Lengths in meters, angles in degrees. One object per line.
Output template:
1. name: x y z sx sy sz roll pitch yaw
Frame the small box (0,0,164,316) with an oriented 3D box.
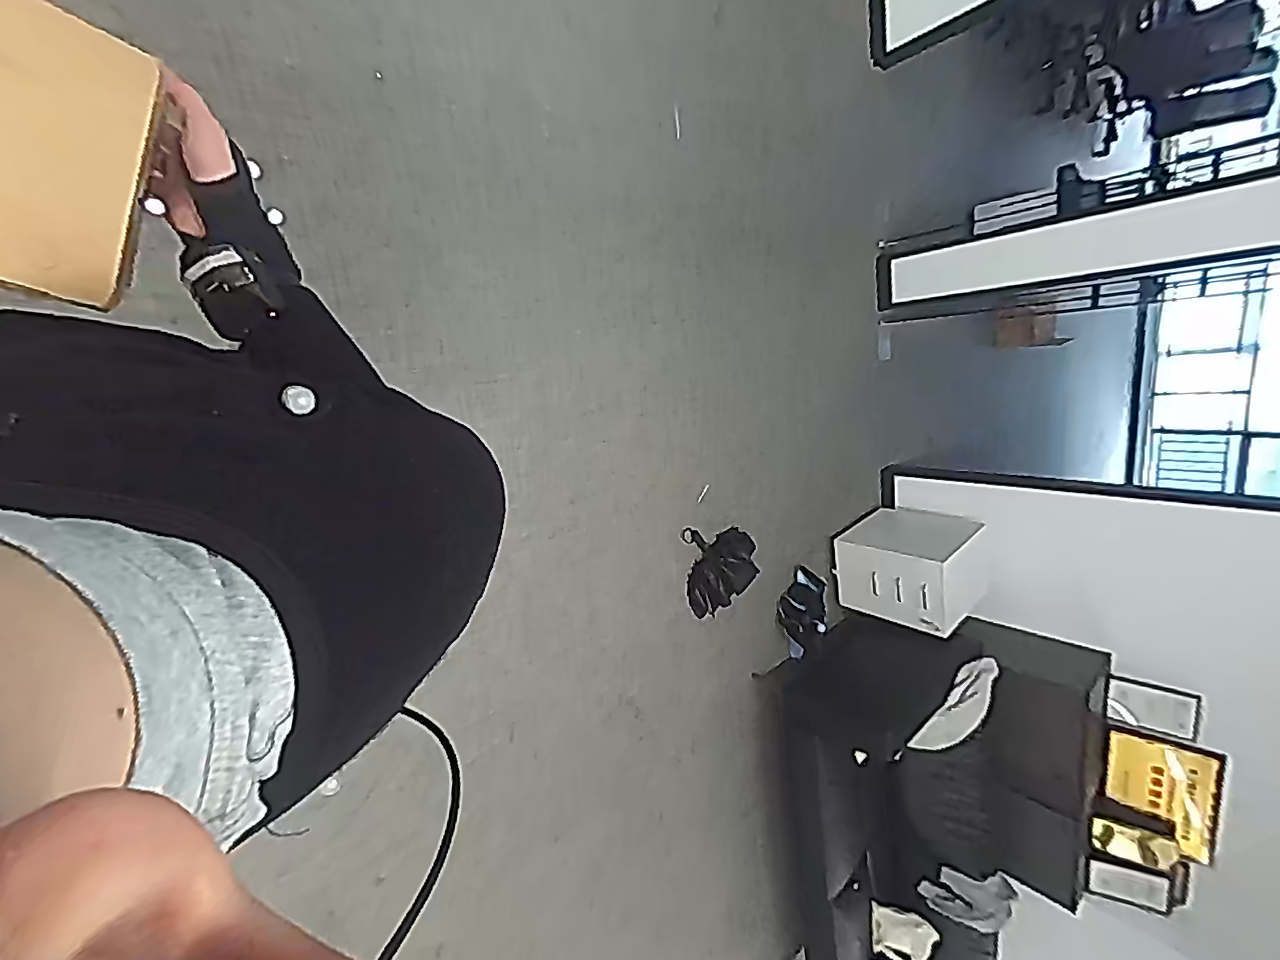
1. small box: -0.457 -0.237 0.380 0.168 0.176 0.179 10 103 -44
